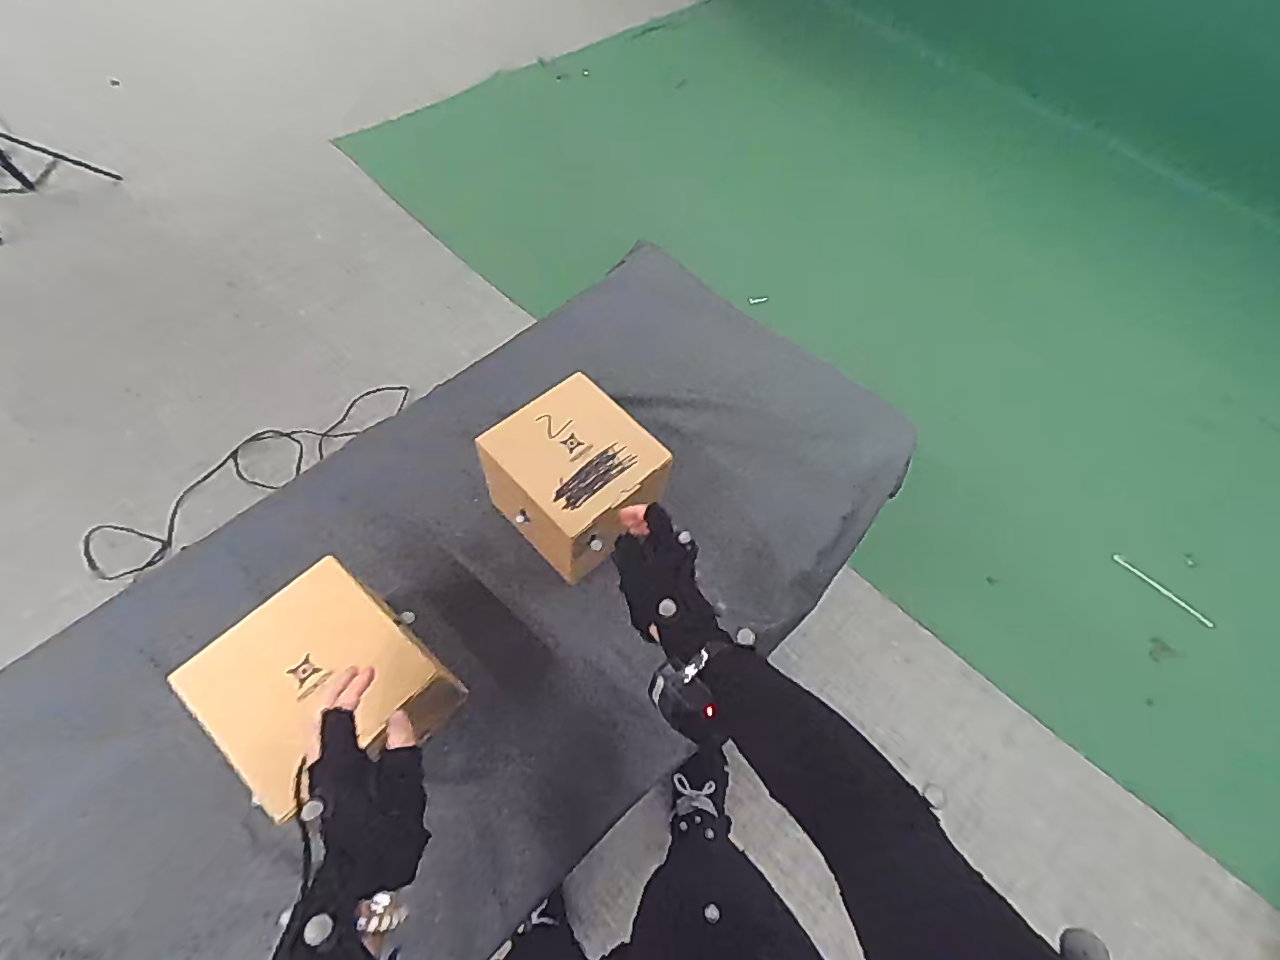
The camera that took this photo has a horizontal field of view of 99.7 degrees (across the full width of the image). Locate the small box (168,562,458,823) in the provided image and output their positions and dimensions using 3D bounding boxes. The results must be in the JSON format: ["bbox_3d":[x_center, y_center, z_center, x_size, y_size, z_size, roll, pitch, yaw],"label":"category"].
[{"bbox_3d":[-0.321,0.223,0.570,0.179,0.176,0.168,40,64,13],"label":"small box"}]
